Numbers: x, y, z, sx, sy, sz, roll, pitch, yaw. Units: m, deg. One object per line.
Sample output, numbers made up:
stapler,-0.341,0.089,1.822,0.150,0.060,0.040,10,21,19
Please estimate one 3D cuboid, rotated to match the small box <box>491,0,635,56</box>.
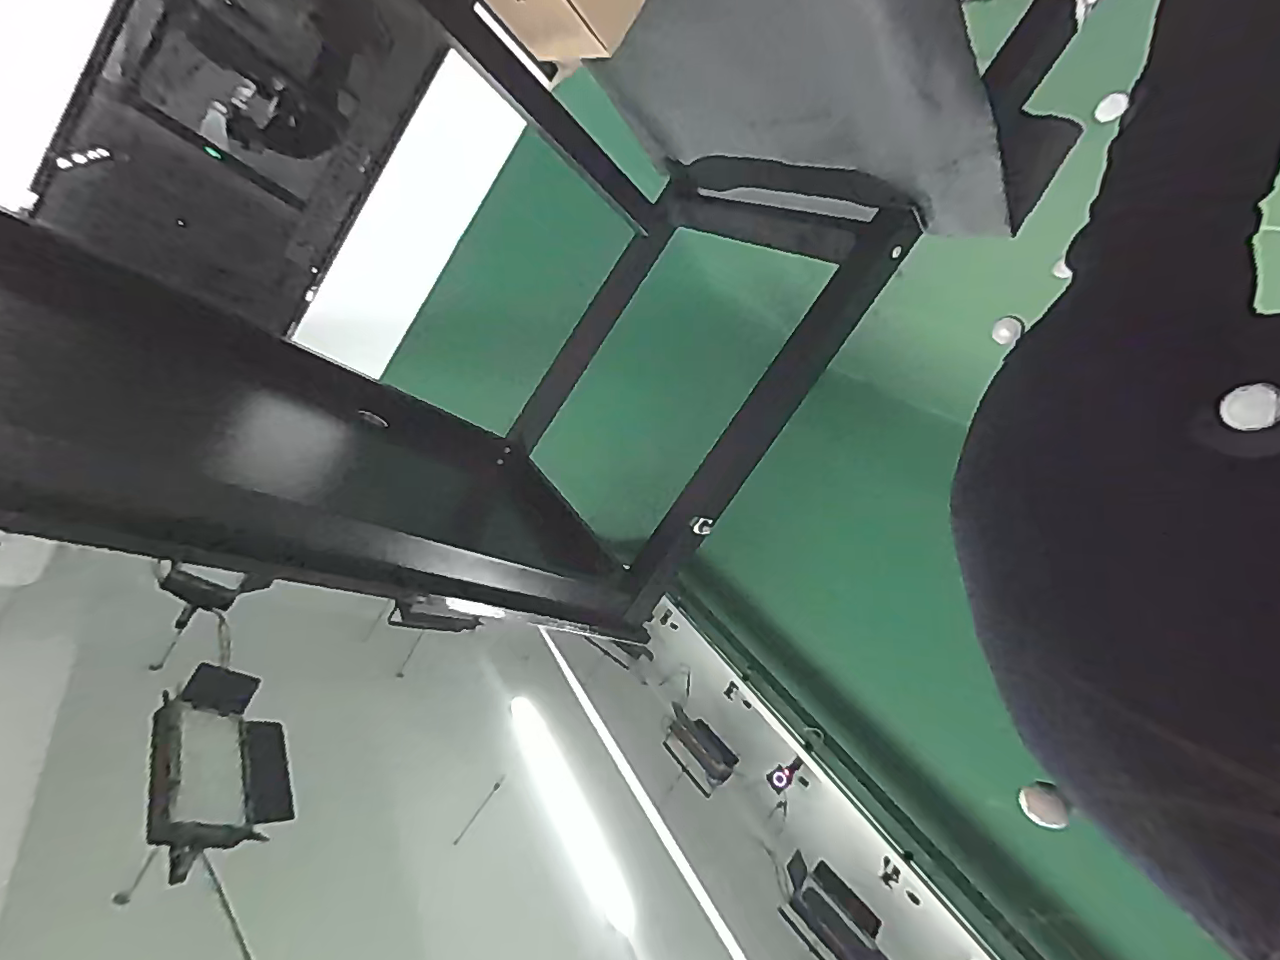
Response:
small box,-0.077,-0.551,0.509,0.179,0.176,0.168,27,-170,-47
